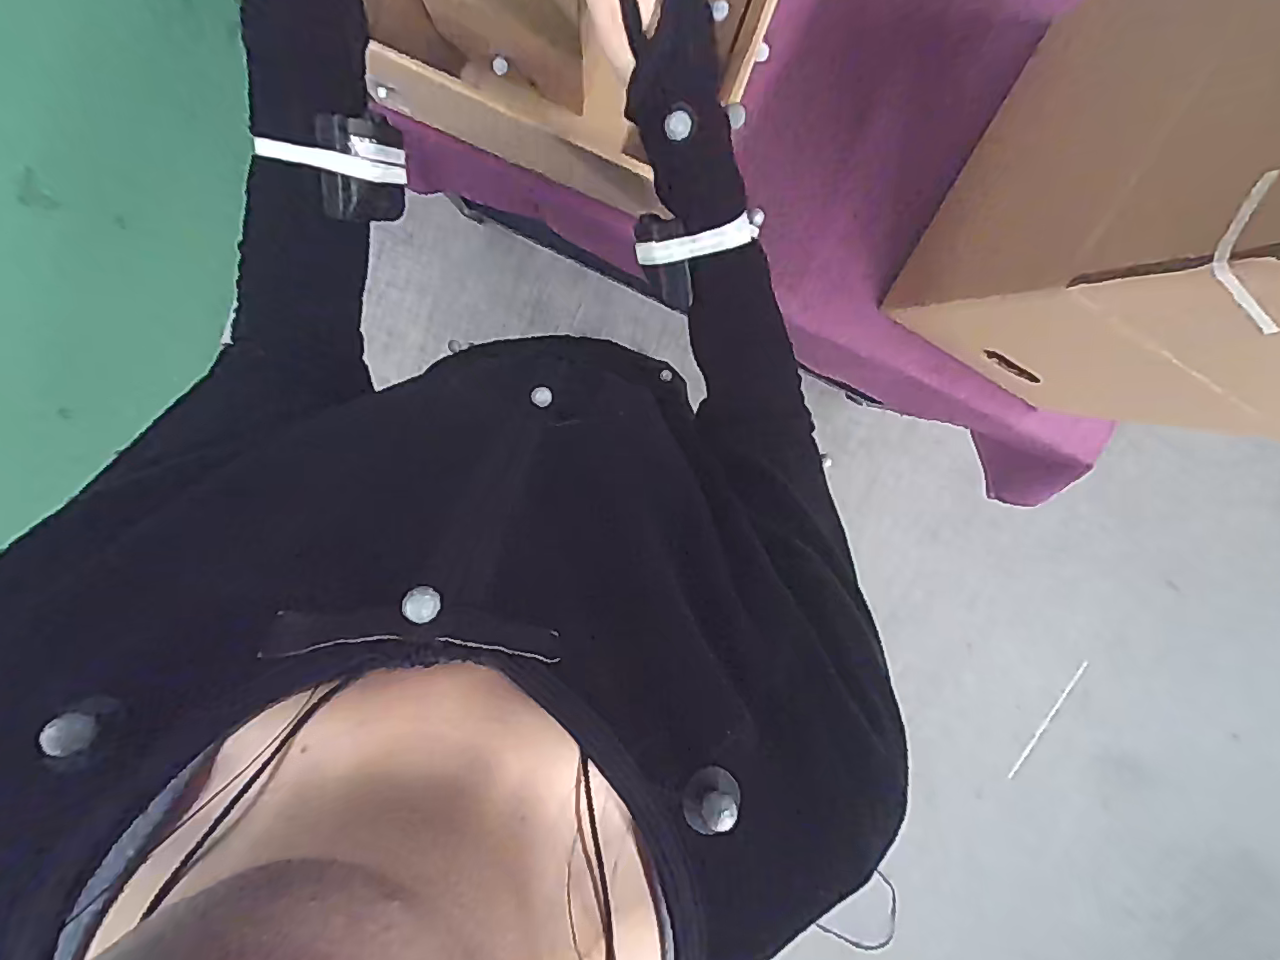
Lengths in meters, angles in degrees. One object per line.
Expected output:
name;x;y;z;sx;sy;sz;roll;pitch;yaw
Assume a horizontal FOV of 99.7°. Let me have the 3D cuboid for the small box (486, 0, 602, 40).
small box;-0.089;-0.447;0.353;0.179;0.176;0.168;23;102;-10
